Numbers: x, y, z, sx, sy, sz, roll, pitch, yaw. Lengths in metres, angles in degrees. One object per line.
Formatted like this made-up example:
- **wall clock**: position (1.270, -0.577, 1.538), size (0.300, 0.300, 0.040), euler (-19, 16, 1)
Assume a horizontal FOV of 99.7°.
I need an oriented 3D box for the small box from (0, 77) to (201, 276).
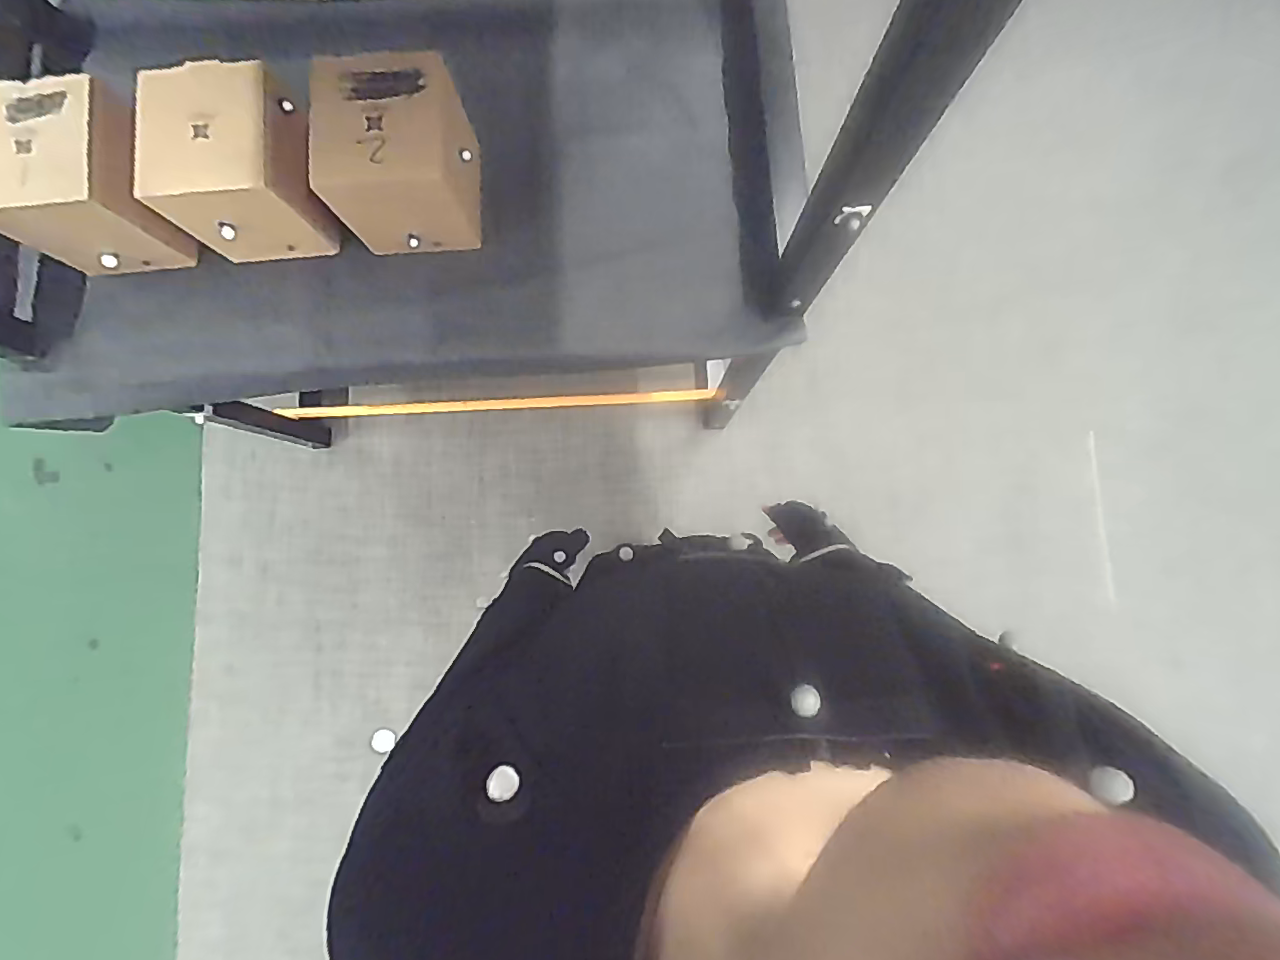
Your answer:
- **small box**: position (-0.763, -0.414, 0.761), size (0.168, 0.176, 0.179), euler (-5, 84, 1)
